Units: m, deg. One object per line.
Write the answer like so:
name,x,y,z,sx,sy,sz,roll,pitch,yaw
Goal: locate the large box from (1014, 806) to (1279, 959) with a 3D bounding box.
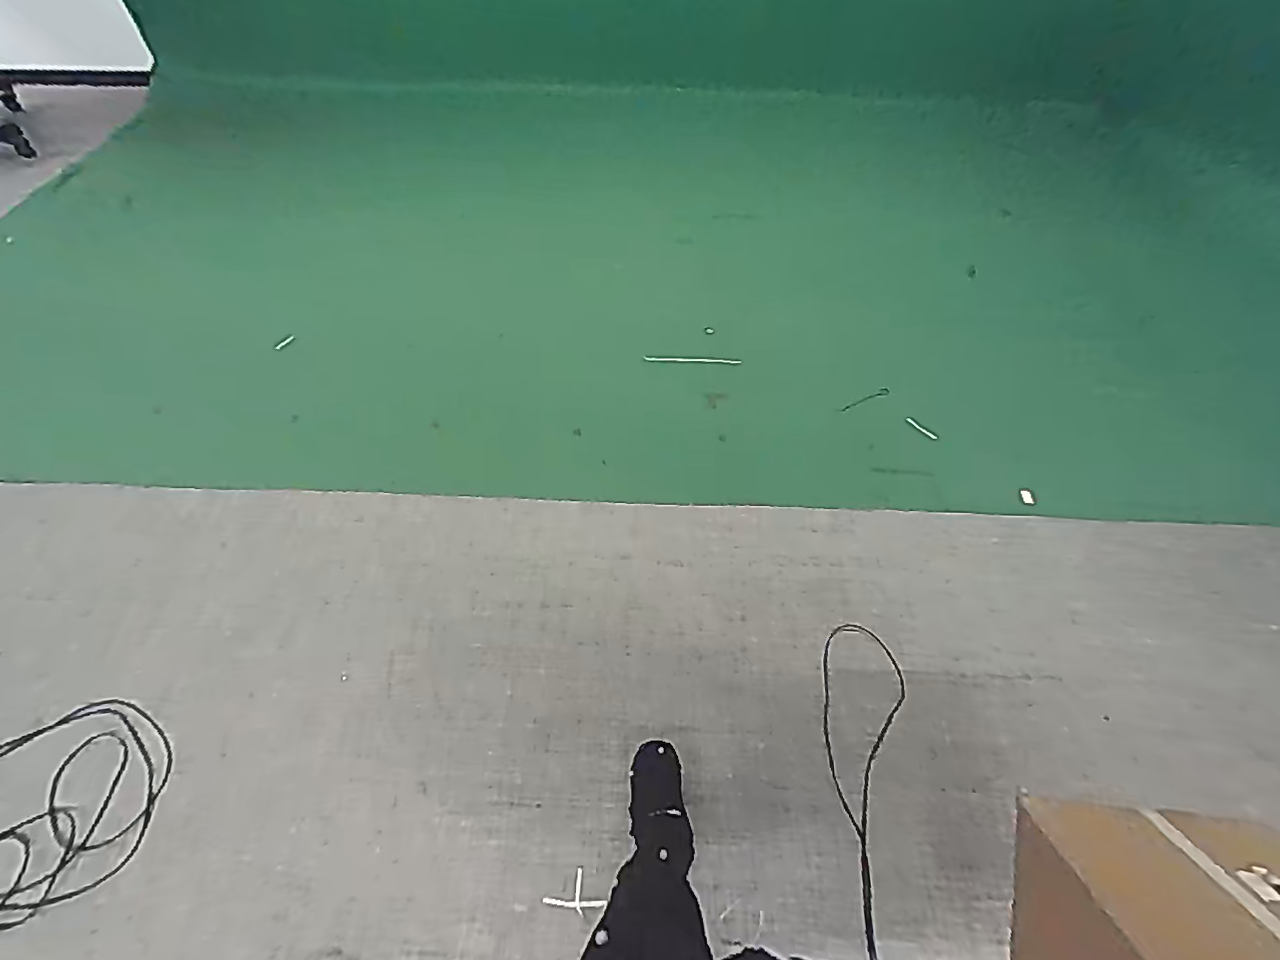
large box,0.659,0.632,0.570,0.320,0.408,0.320,2,92,11
